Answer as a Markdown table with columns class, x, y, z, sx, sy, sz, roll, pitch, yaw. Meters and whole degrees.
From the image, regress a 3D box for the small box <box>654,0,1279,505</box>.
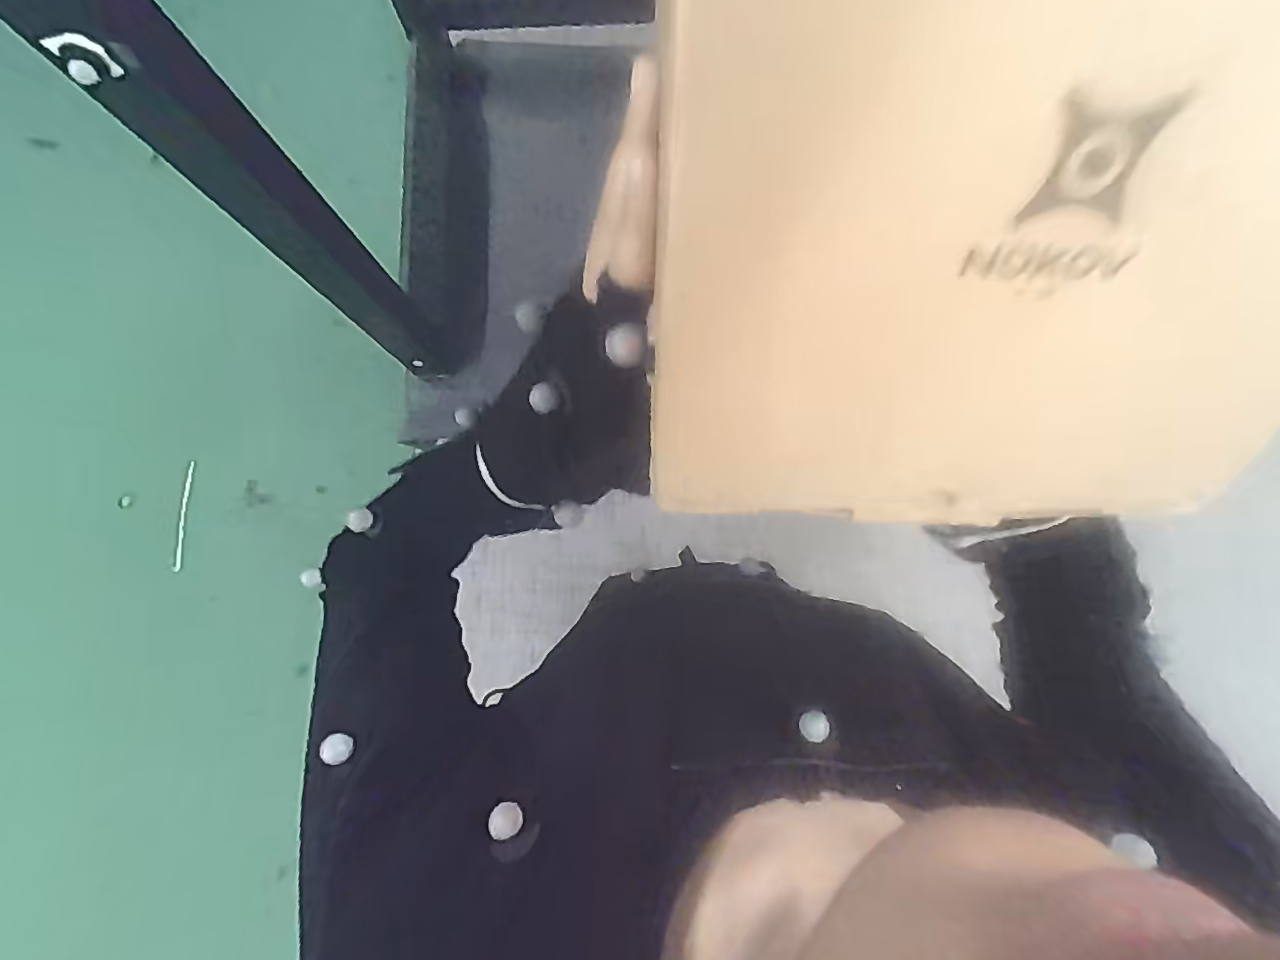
| class | x | y | z | sx | sy | sz | roll | pitch | yaw |
| --- | --- | --- | --- | --- | --- | --- | --- | --- | --- |
| small box | 0.091 | -0.111 | 0.172 | 0.168 | 0.179 | 0.176 | 1 | 39 | 0 |
